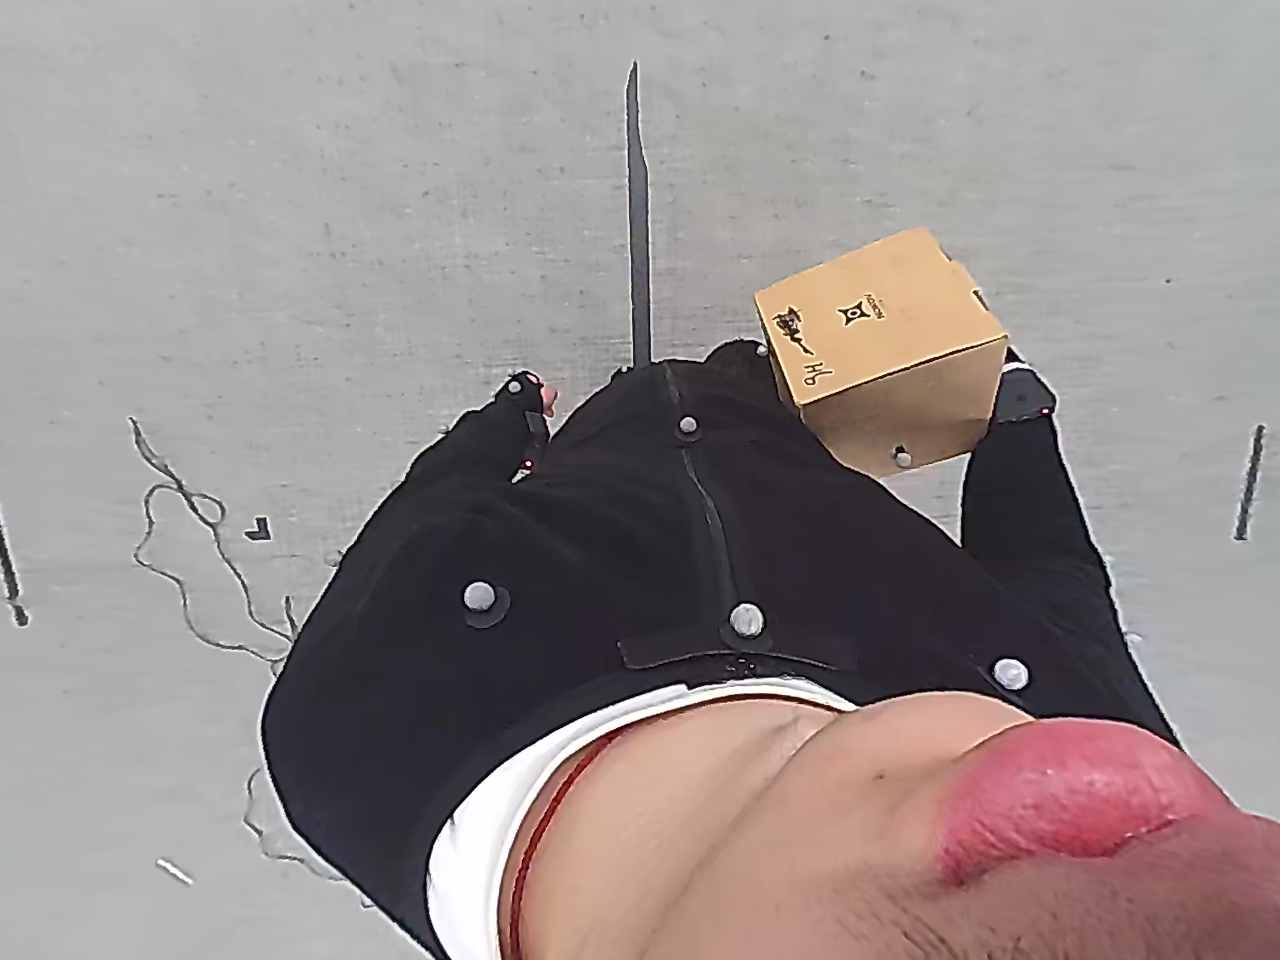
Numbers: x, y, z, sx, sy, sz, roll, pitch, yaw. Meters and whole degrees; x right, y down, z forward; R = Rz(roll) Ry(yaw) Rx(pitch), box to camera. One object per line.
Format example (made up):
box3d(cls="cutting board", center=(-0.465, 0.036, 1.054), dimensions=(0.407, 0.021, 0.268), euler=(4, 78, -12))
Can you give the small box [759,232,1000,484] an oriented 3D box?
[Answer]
box3d(cls="small box", center=(0.243, -0.121, 0.583), dimensions=(0.179, 0.168, 0.176), euler=(-18, 143, 13))
